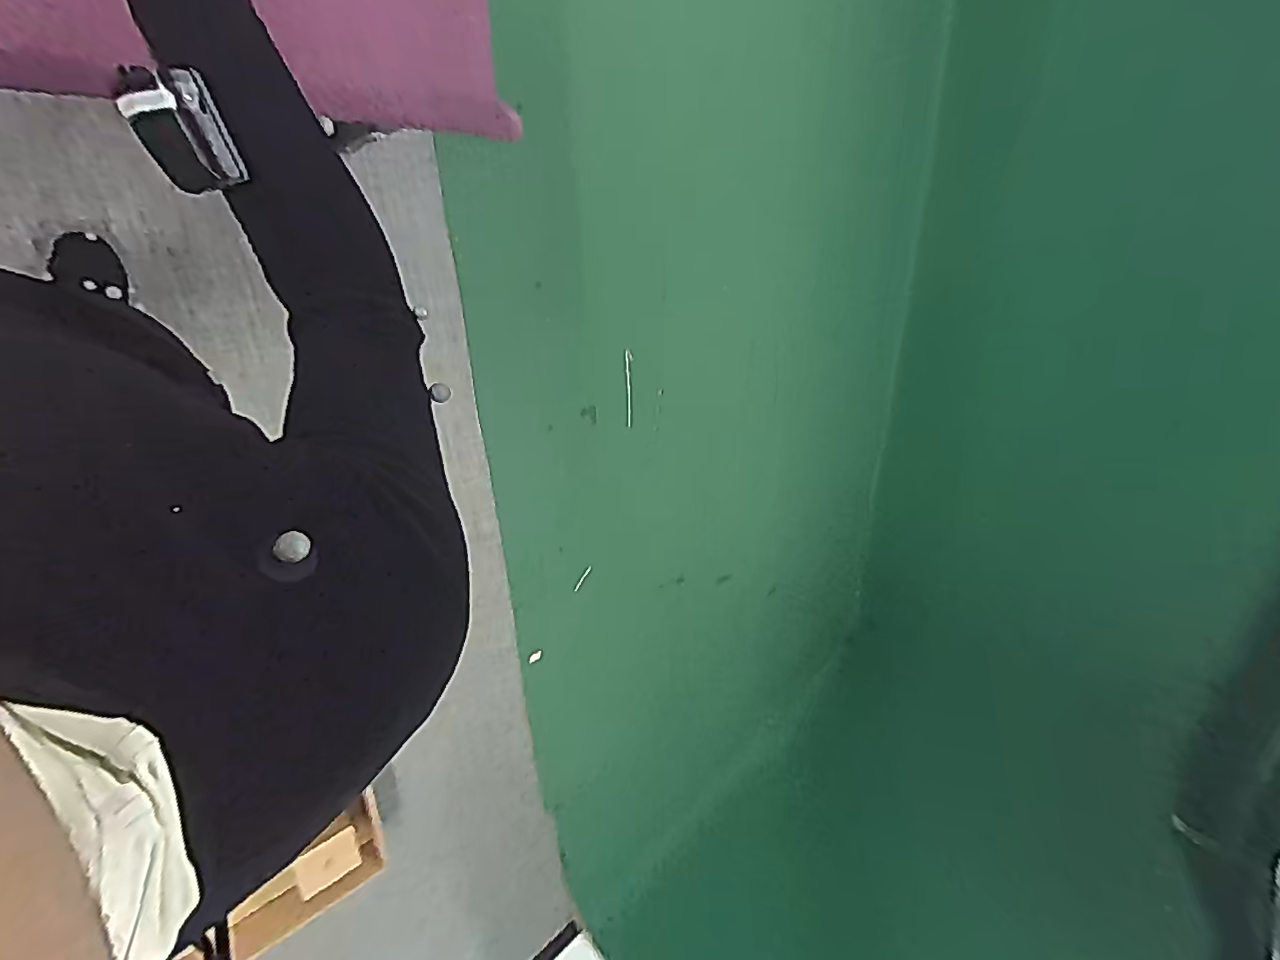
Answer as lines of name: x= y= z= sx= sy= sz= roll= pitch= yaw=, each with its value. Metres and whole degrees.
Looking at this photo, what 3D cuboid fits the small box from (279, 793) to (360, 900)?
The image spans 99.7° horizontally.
small box: x=-0.988 y=1.120 z=1.669 sx=0.168 sy=0.176 sz=0.179 roll=-18 pitch=118 yaw=-39
